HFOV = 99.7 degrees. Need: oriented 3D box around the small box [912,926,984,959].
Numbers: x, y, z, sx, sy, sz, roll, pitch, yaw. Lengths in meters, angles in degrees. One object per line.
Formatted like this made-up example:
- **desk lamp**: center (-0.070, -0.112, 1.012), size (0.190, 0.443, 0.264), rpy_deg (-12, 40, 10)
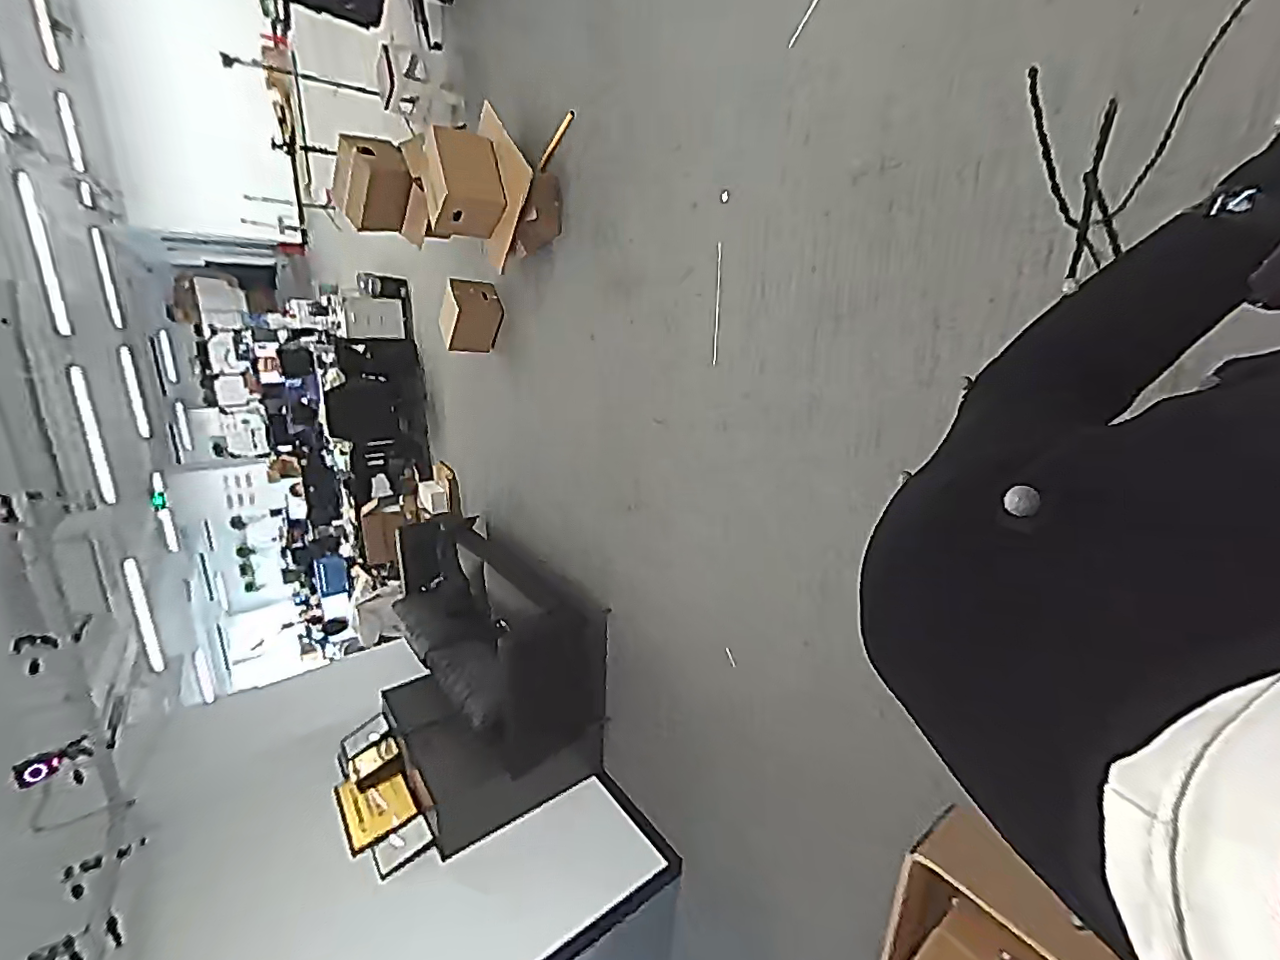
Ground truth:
- **small box**: center (0.515, 0.888, 0.868), size (0.179, 0.176, 0.168), rpy_deg (22, 117, 49)
